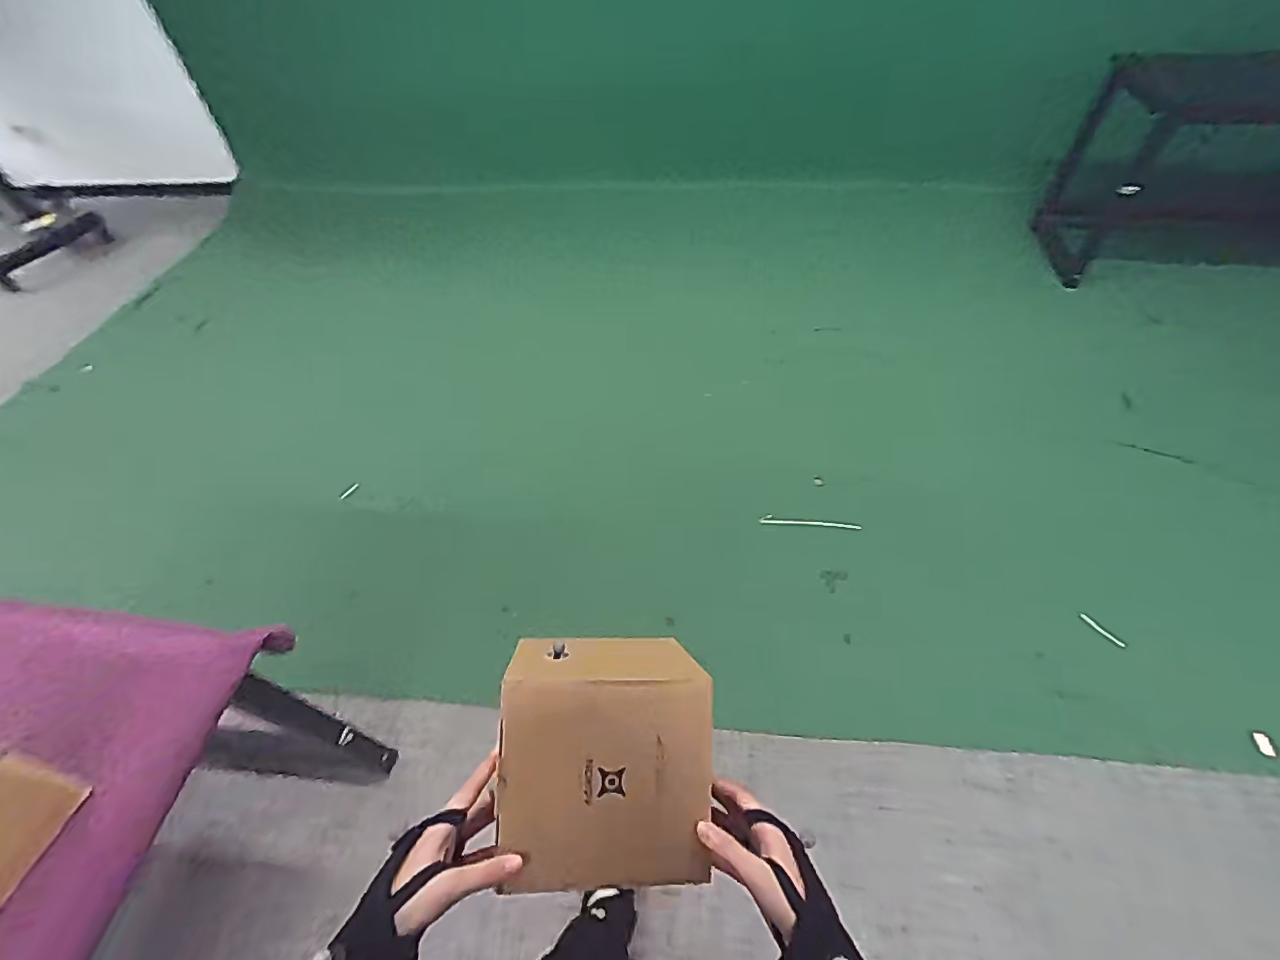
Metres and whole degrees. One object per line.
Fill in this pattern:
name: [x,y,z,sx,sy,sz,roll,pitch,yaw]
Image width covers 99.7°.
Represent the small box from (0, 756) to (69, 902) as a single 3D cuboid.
small box: [-0.815,0.404,0.602,0.168,0.176,0.179,10,54,13]
